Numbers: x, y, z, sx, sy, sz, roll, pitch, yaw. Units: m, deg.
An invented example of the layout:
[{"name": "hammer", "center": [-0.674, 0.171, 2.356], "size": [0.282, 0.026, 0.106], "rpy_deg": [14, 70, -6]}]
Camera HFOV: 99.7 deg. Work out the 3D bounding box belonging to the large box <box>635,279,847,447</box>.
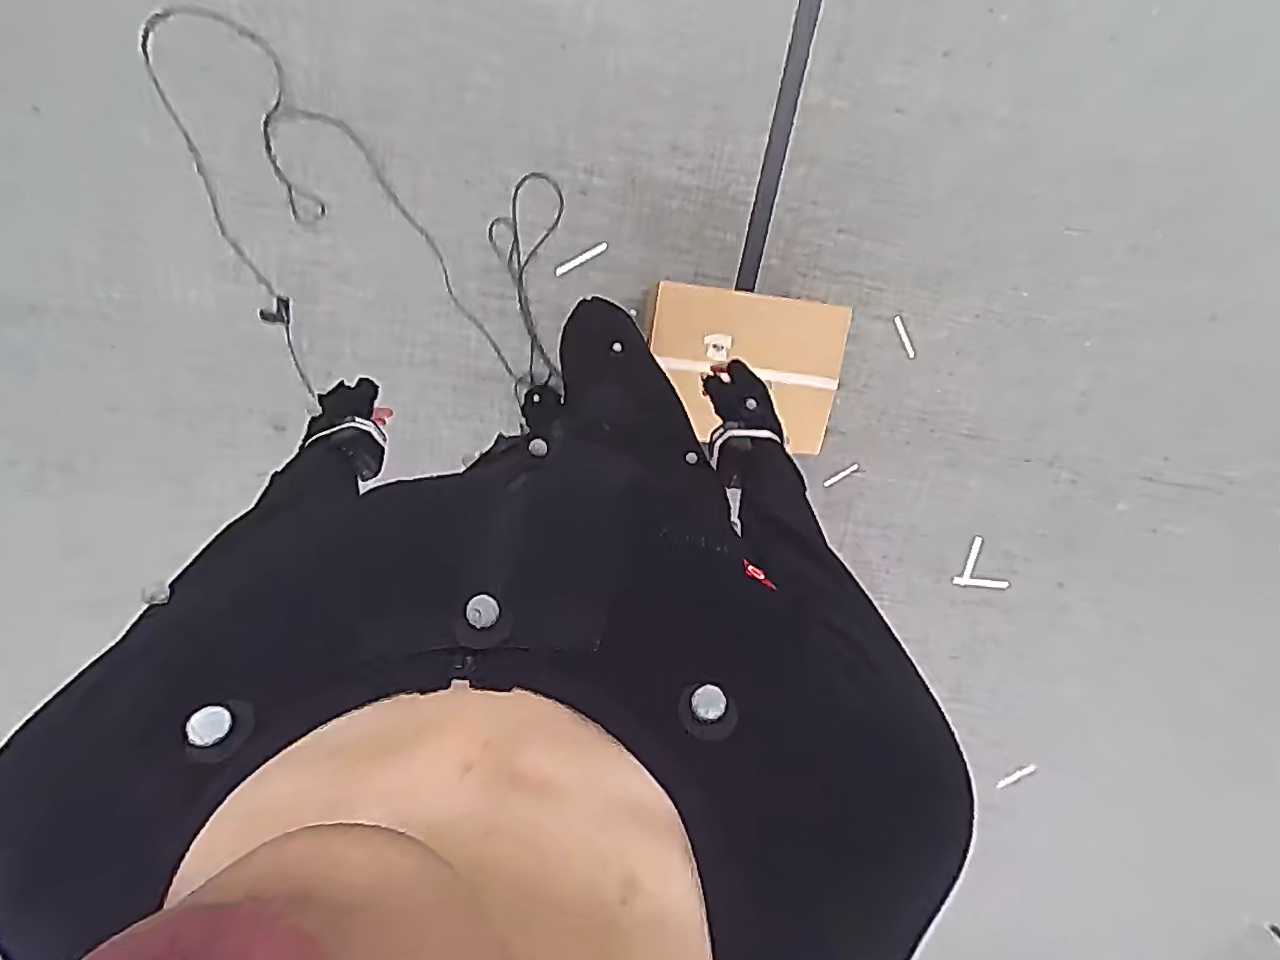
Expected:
[{"name": "large box", "center": [0.209, -0.284, 1.279], "size": [0.408, 0.320, 0.320], "rpy_deg": [7, 107, -4]}]
